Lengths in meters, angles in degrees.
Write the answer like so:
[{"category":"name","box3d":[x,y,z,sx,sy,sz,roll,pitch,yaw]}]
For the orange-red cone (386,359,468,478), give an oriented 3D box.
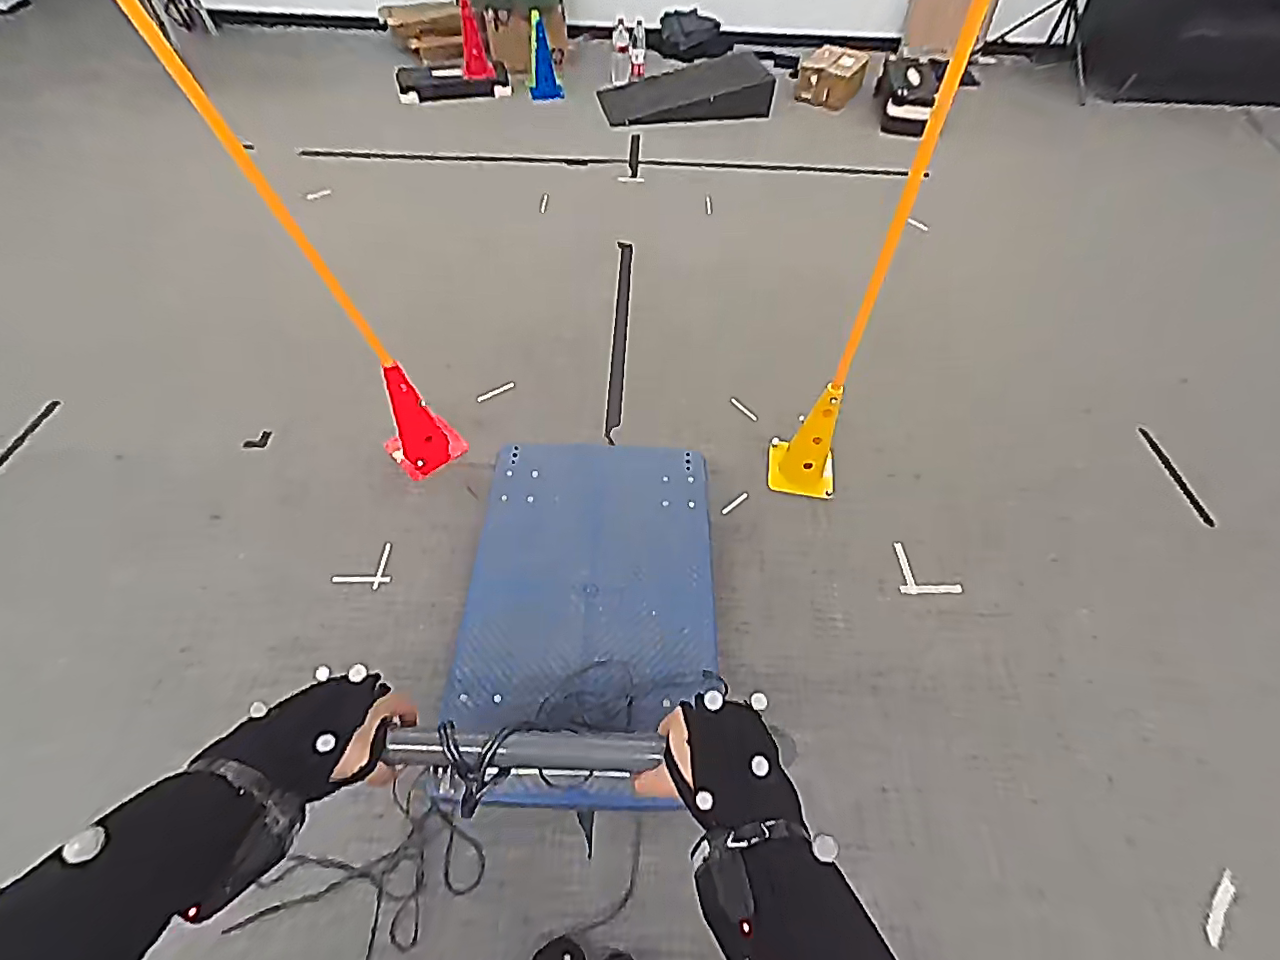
[{"category":"orange-red cone","box3d":[-0.665,-0.207,1.577,0.199,0.360,0.198,-36,64,-26]}]
